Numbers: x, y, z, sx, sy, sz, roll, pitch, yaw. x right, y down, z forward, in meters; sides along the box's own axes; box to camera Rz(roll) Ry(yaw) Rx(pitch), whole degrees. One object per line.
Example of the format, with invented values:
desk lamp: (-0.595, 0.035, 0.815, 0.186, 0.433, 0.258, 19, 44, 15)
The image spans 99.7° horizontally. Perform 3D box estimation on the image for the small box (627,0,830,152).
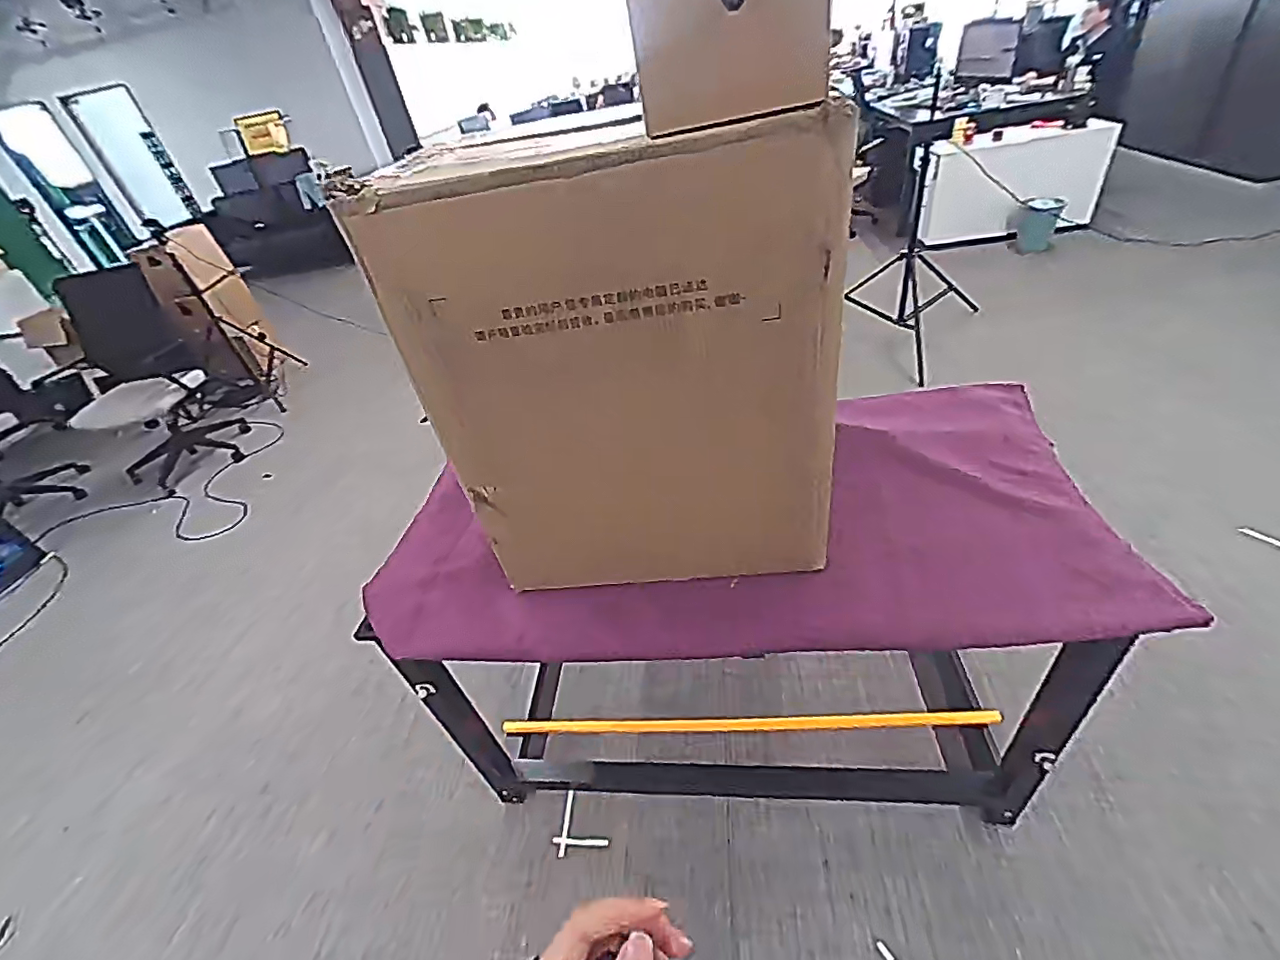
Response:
small box: (0.080, -0.433, 0.508, 0.168, 0.176, 0.179, -4, 39, 11)
